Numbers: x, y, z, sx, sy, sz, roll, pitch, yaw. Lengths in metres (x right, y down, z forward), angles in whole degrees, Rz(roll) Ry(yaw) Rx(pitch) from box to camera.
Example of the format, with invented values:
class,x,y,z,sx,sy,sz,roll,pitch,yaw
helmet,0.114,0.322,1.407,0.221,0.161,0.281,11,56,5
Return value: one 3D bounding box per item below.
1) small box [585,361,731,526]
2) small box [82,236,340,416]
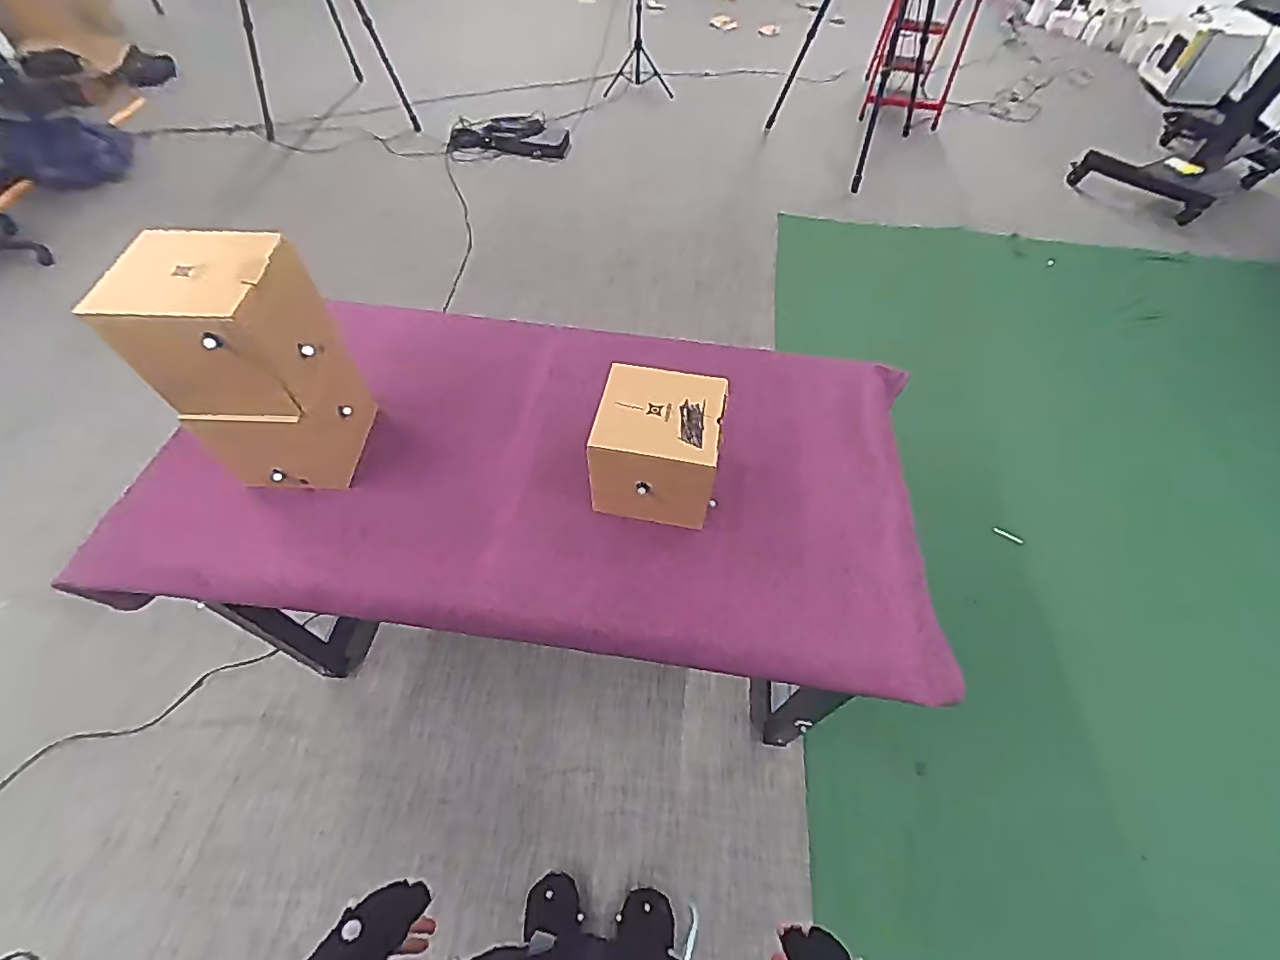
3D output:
class,x,y,z,sx,sy,sz,roll,pitch,yaw
small box,0.028,-0.050,0.820,0.179,0.176,0.168,12,54,7
small box,-0.539,-0.198,0.714,0.179,0.176,0.168,0,56,-2
